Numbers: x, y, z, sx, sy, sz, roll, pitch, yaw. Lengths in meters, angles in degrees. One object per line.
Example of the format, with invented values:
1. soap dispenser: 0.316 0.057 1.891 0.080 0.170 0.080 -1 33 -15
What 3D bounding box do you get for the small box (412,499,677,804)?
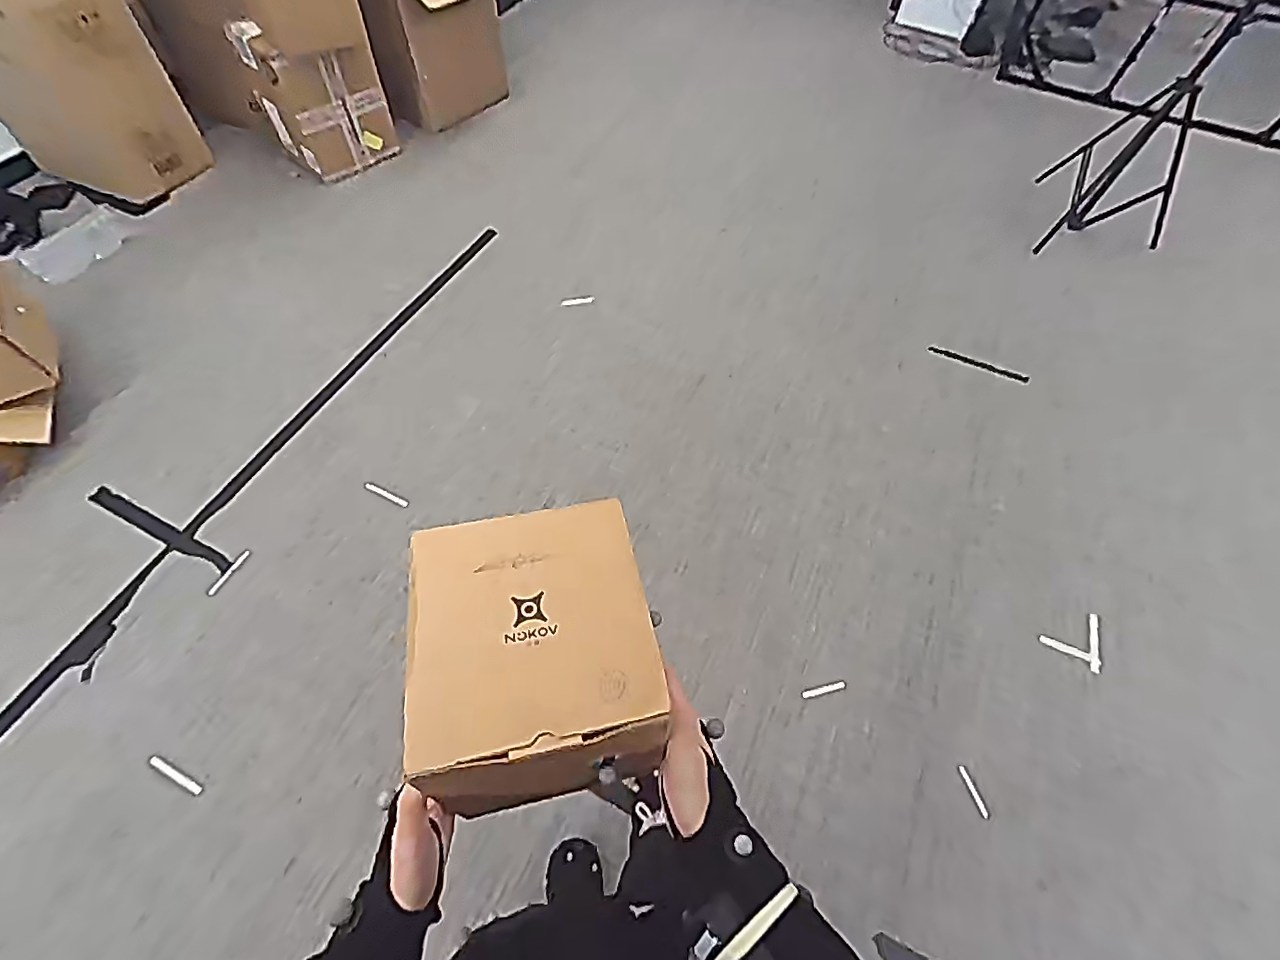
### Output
1. small box: -0.075 0.144 0.438 0.168 0.176 0.179 -9 51 -11
